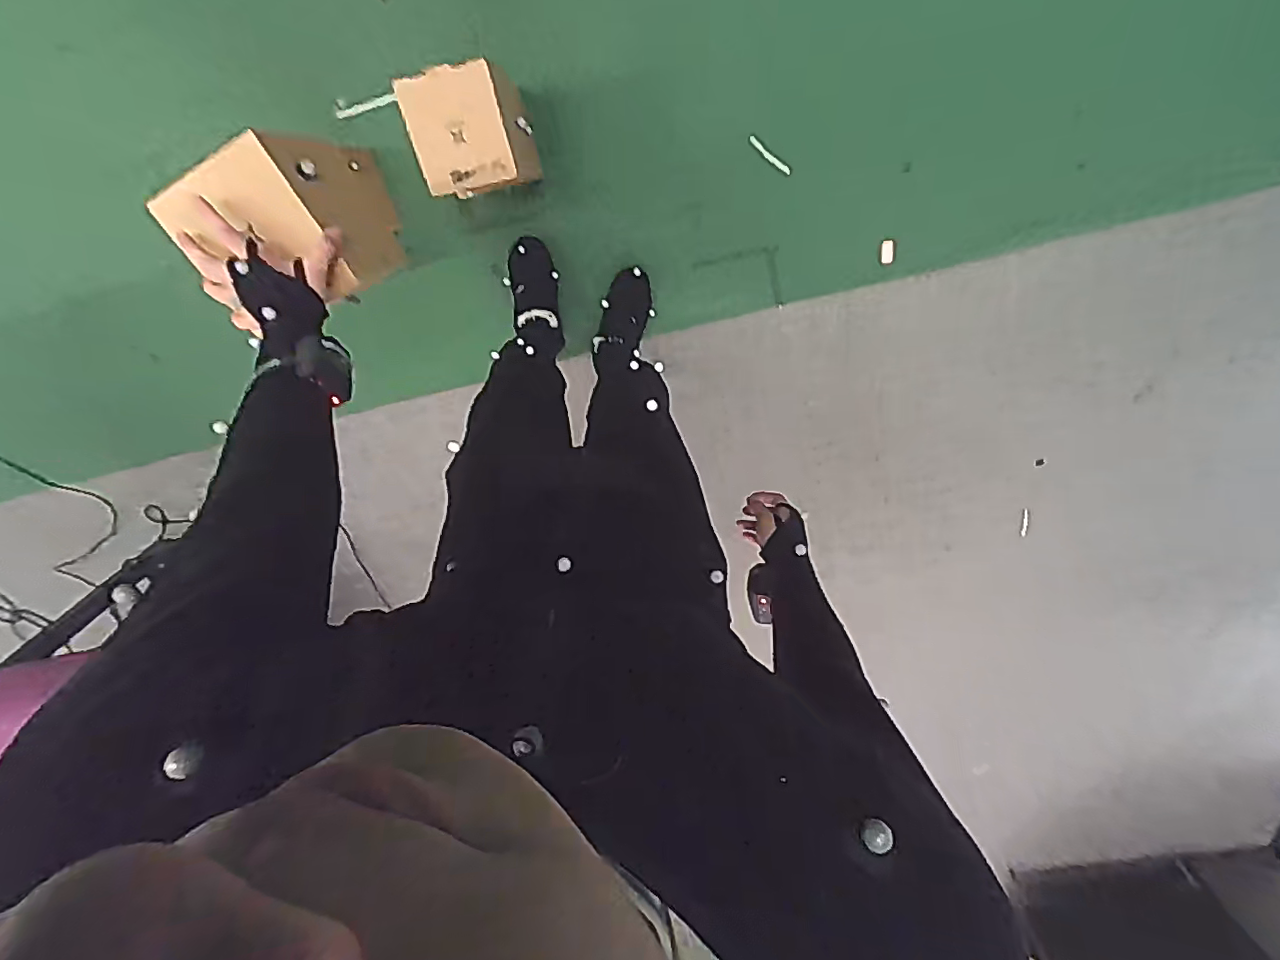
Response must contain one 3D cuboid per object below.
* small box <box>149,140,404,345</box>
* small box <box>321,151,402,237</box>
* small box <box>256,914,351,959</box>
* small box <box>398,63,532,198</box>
[{"bbox_3d":[-0.449,-0.306,0.702,0.168,0.176,0.179,-23,117,13],"label":"small box"},{"bbox_3d":[-0.665,-0.617,1.205,0.168,0.176,0.179,-11,119,8],"label":"small box"},{"bbox_3d":[-0.979,1.387,1.551,0.179,0.176,0.168,-17,120,9],"label":"small box"},{"bbox_3d":[-0.310,-0.635,0.999,0.168,0.176,0.179,-9,120,5],"label":"small box"}]
